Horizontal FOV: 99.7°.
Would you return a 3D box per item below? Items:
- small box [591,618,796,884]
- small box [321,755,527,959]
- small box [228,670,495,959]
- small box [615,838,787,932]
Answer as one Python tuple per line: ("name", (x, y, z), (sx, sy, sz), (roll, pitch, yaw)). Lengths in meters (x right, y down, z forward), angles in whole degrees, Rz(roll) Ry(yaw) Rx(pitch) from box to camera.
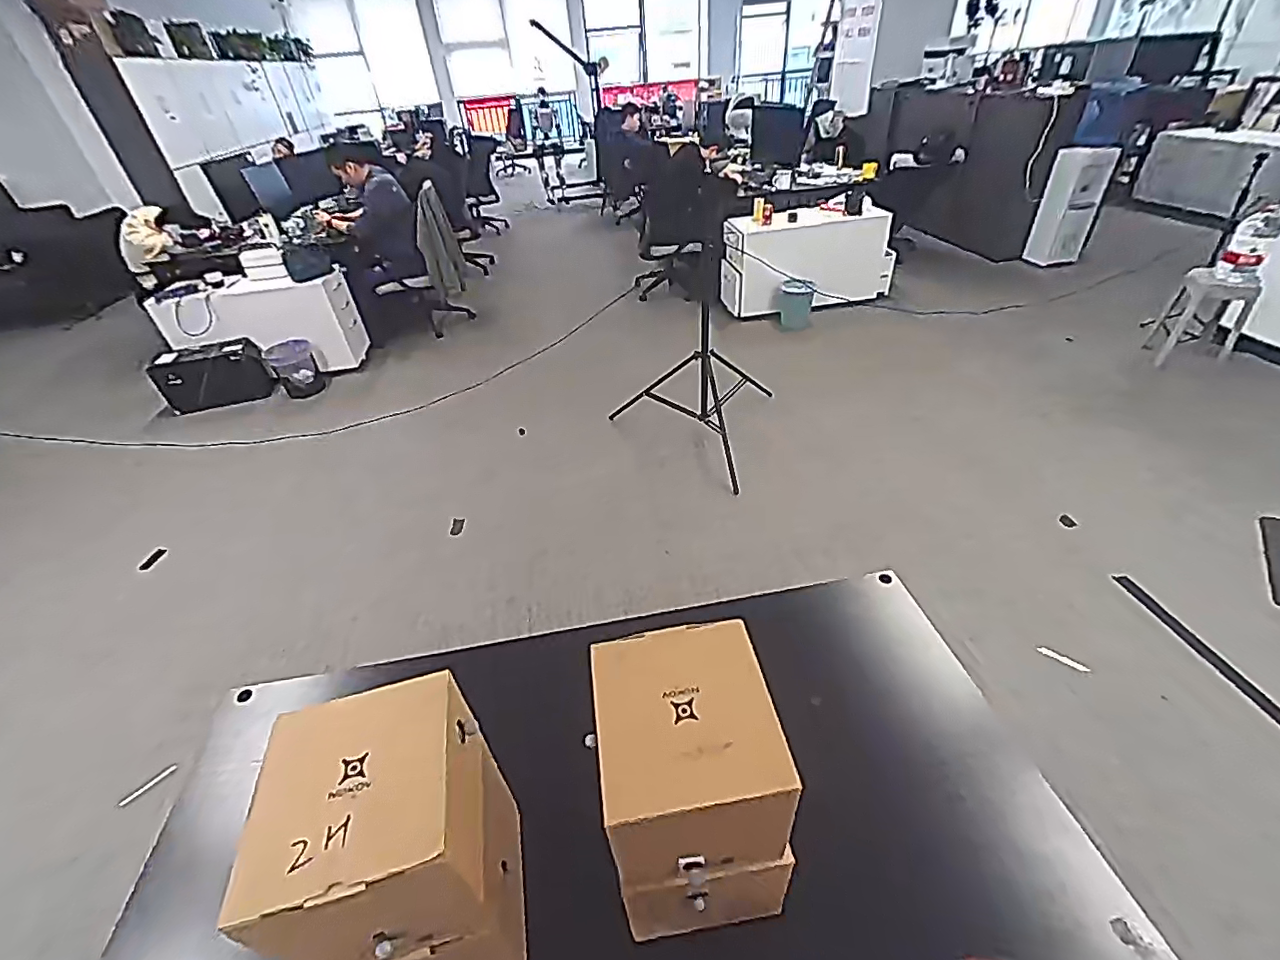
("small box", (0.046, 0.276, 0.560), (0.168, 0.176, 0.179), (-10, 38, -4))
("small box", (-0.232, 0.459, 0.625), (0.168, 0.176, 0.179), (-12, 38, -7))
("small box", (-0.245, 0.325, 0.528), (0.168, 0.176, 0.179), (-13, 38, -9))
("small box", (0.062, 0.410, 0.652), (0.179, 0.176, 0.168), (-8, 37, -4))
